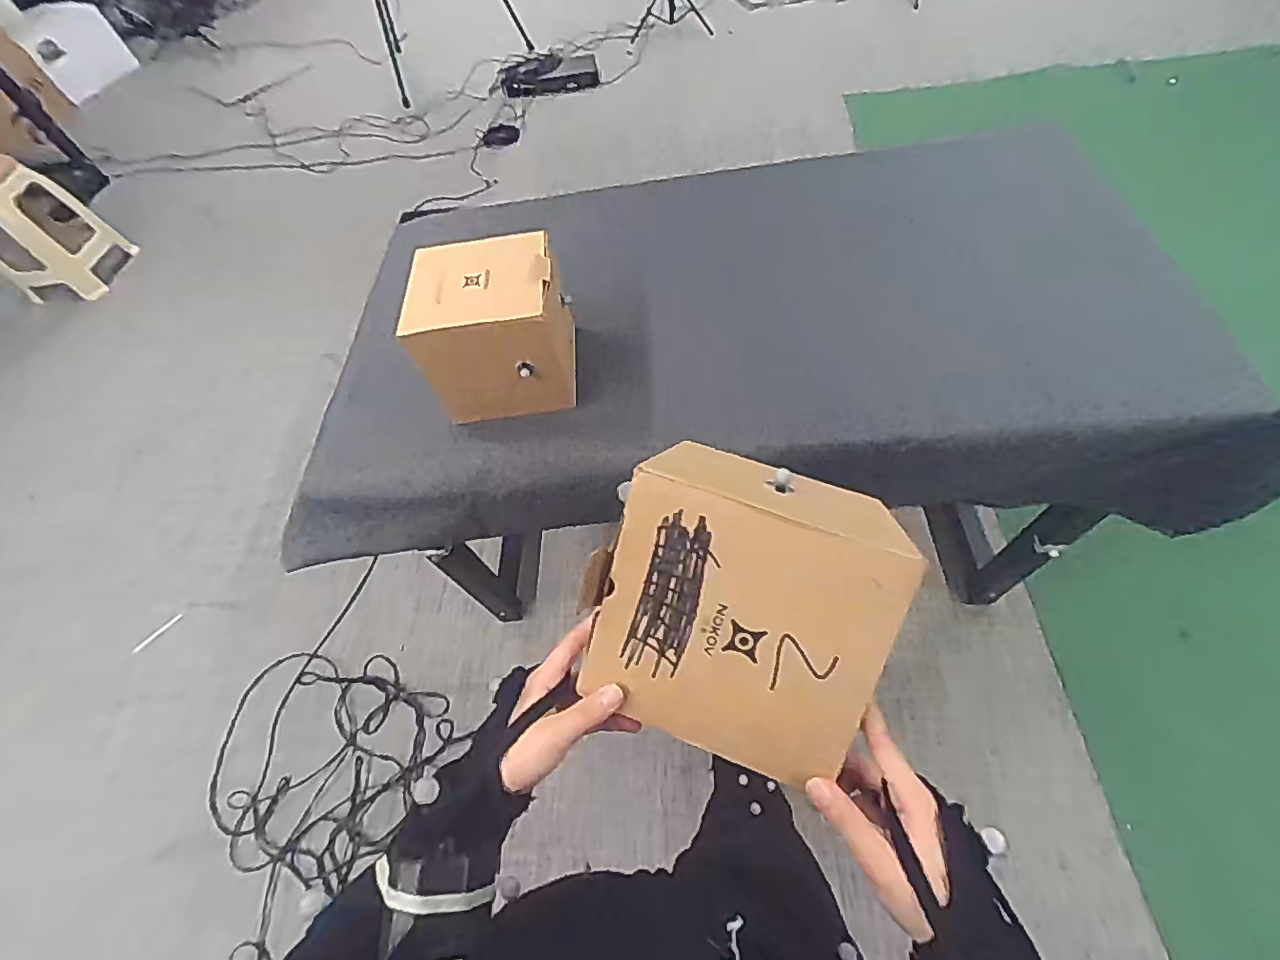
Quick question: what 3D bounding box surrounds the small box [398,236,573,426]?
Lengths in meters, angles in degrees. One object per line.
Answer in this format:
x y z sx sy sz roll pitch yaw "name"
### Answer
-0.188 -0.192 0.723 0.179 0.176 0.168 -8 56 4 "small box"
